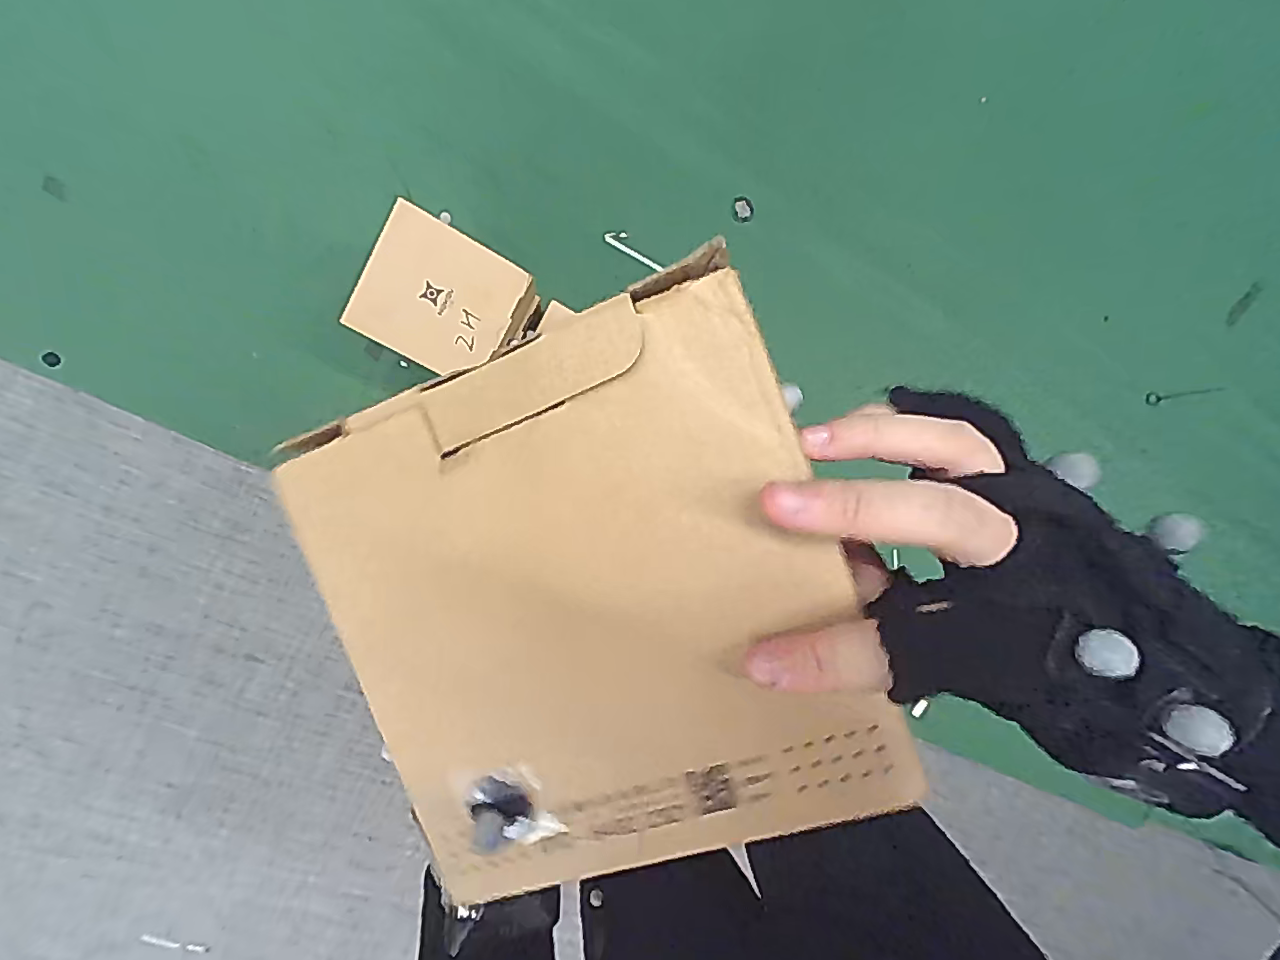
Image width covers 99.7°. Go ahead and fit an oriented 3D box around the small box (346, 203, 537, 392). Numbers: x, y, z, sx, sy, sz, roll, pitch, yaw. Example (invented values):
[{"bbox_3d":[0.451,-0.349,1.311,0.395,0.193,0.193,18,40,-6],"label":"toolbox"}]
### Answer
[{"bbox_3d":[-0.255,-0.233,0.739,0.179,0.176,0.168,28,95,-14],"label":"small box"}]
